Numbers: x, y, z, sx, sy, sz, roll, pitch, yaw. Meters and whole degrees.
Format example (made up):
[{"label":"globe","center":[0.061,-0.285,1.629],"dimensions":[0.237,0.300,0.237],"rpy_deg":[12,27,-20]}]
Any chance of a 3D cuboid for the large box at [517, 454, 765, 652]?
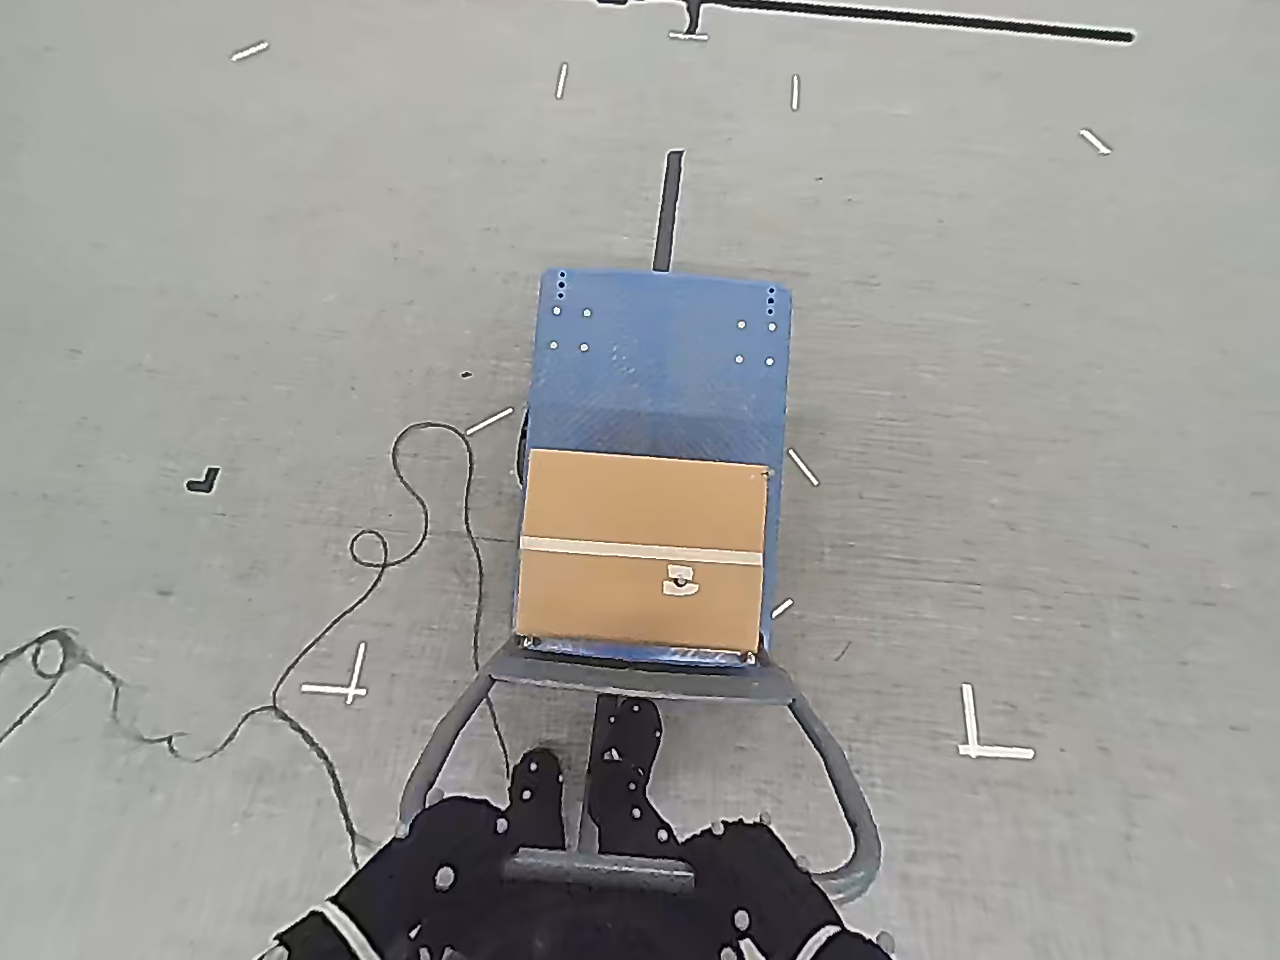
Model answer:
[{"label":"large box","center":[0.000,0.131,1.046],"dimensions":[0.408,0.320,0.320],"rpy_deg":[4,87,-1]}]
